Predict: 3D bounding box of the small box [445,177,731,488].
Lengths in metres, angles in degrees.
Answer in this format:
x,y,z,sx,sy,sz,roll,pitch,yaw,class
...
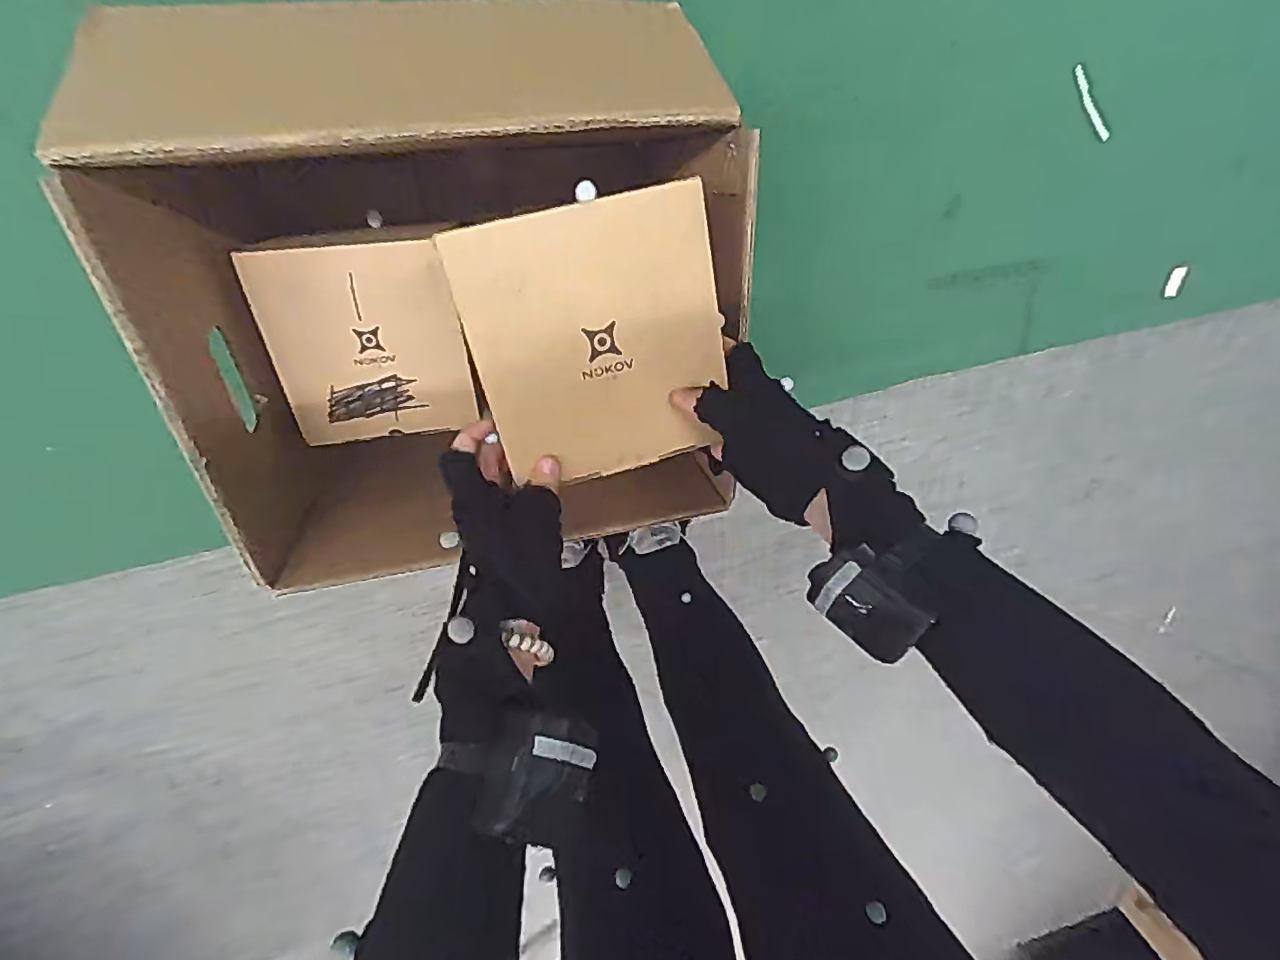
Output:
x,y,z,sx,sy,sz,roll,pitch,yaw,class
-0.043,-0.121,0.432,0.168,0.176,0.179,-16,116,-8,small box
